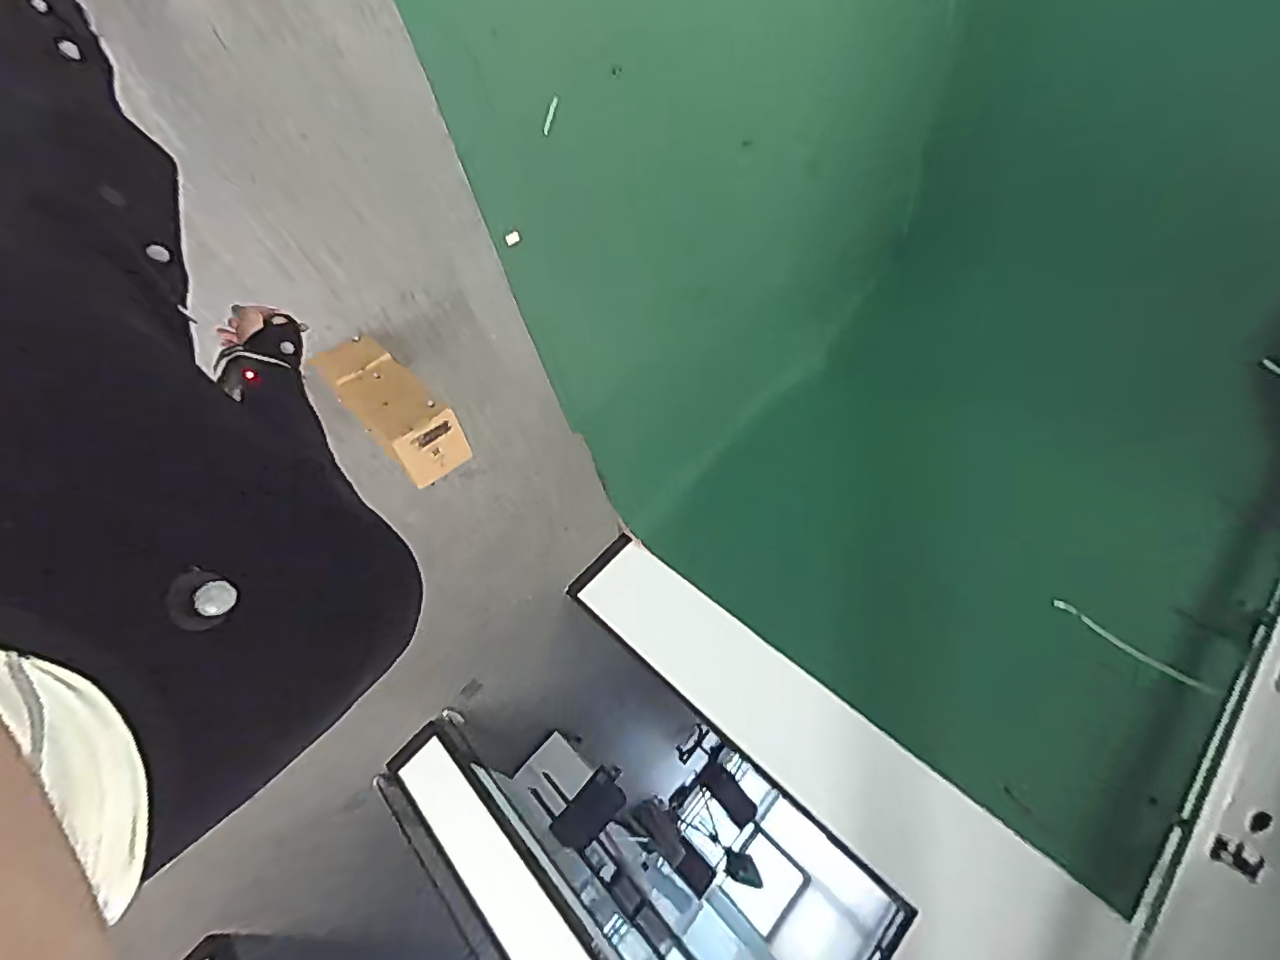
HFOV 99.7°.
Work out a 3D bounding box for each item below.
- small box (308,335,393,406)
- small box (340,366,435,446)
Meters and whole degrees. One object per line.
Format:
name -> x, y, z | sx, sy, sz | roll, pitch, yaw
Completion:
small box -> -0.809, -0.296, 1.554 | 0.168, 0.176, 0.179 | -39, 146, -24
small box -> -0.696, -0.210, 1.490 | 0.179, 0.176, 0.168 | -13, 128, -48
